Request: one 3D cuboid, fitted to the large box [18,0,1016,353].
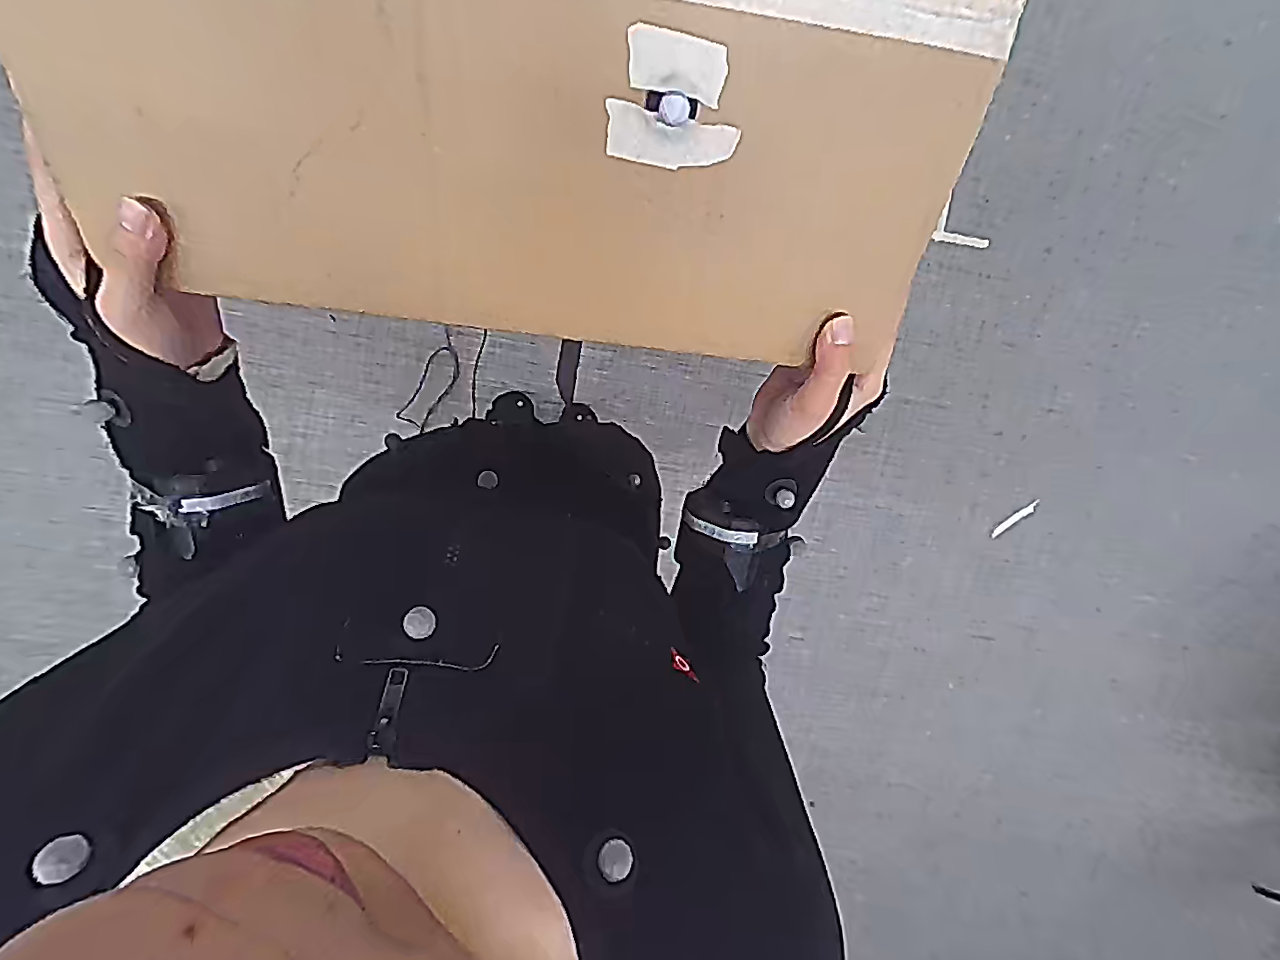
[{"bbox_3d":[-0.049,-0.297,0.330,0.408,0.320,0.320,4,127,-7],"label":"large box"}]
